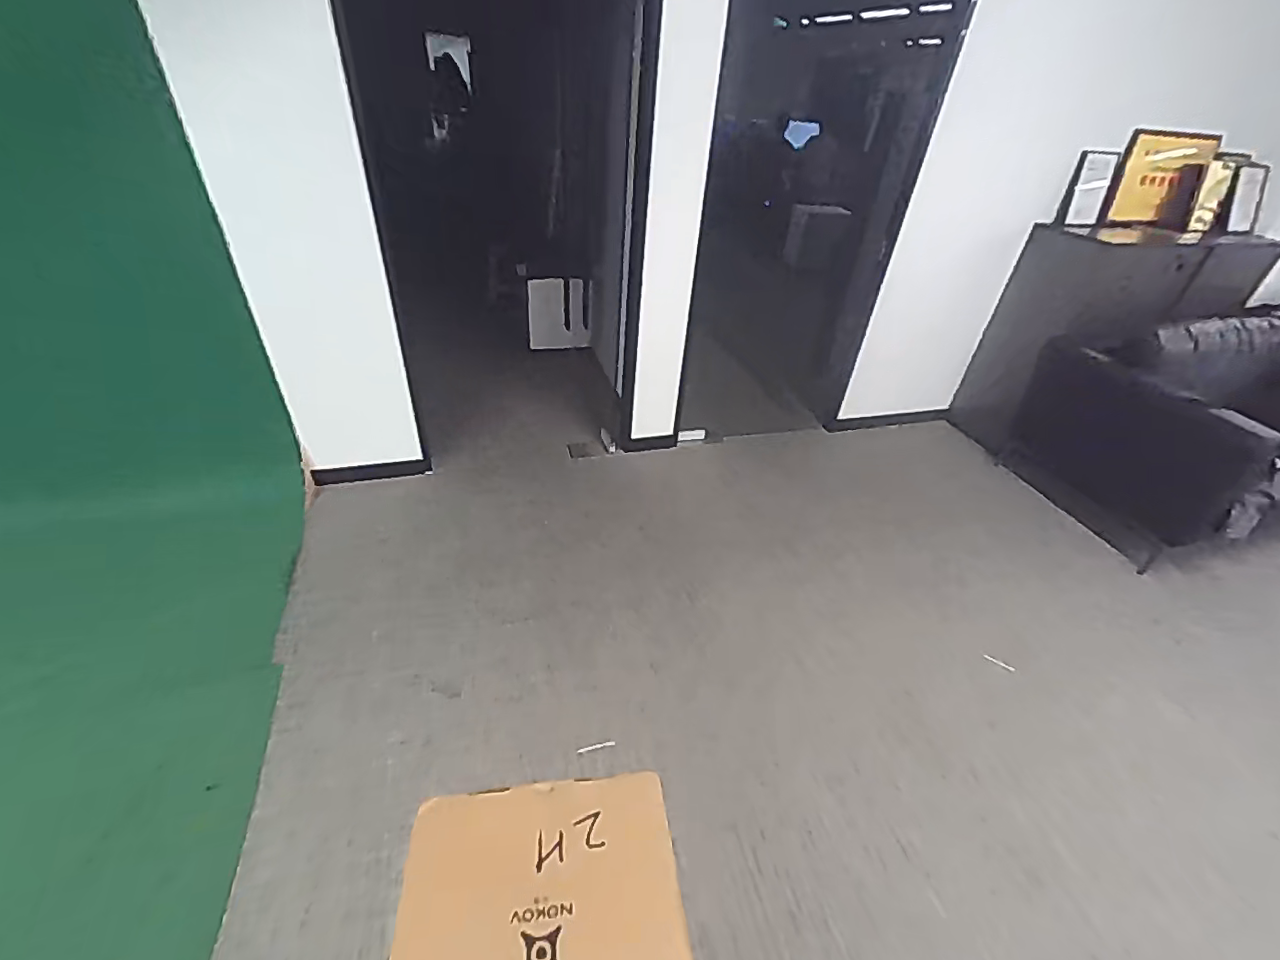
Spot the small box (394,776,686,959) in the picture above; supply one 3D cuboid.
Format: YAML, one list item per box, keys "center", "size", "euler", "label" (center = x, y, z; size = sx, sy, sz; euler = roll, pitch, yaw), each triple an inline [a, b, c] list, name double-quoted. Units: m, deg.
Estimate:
- center: [-0.061, 0.331, 0.353]
  size: [0.168, 0.176, 0.179]
  euler: [0, 31, -9]
  label: "small box"
